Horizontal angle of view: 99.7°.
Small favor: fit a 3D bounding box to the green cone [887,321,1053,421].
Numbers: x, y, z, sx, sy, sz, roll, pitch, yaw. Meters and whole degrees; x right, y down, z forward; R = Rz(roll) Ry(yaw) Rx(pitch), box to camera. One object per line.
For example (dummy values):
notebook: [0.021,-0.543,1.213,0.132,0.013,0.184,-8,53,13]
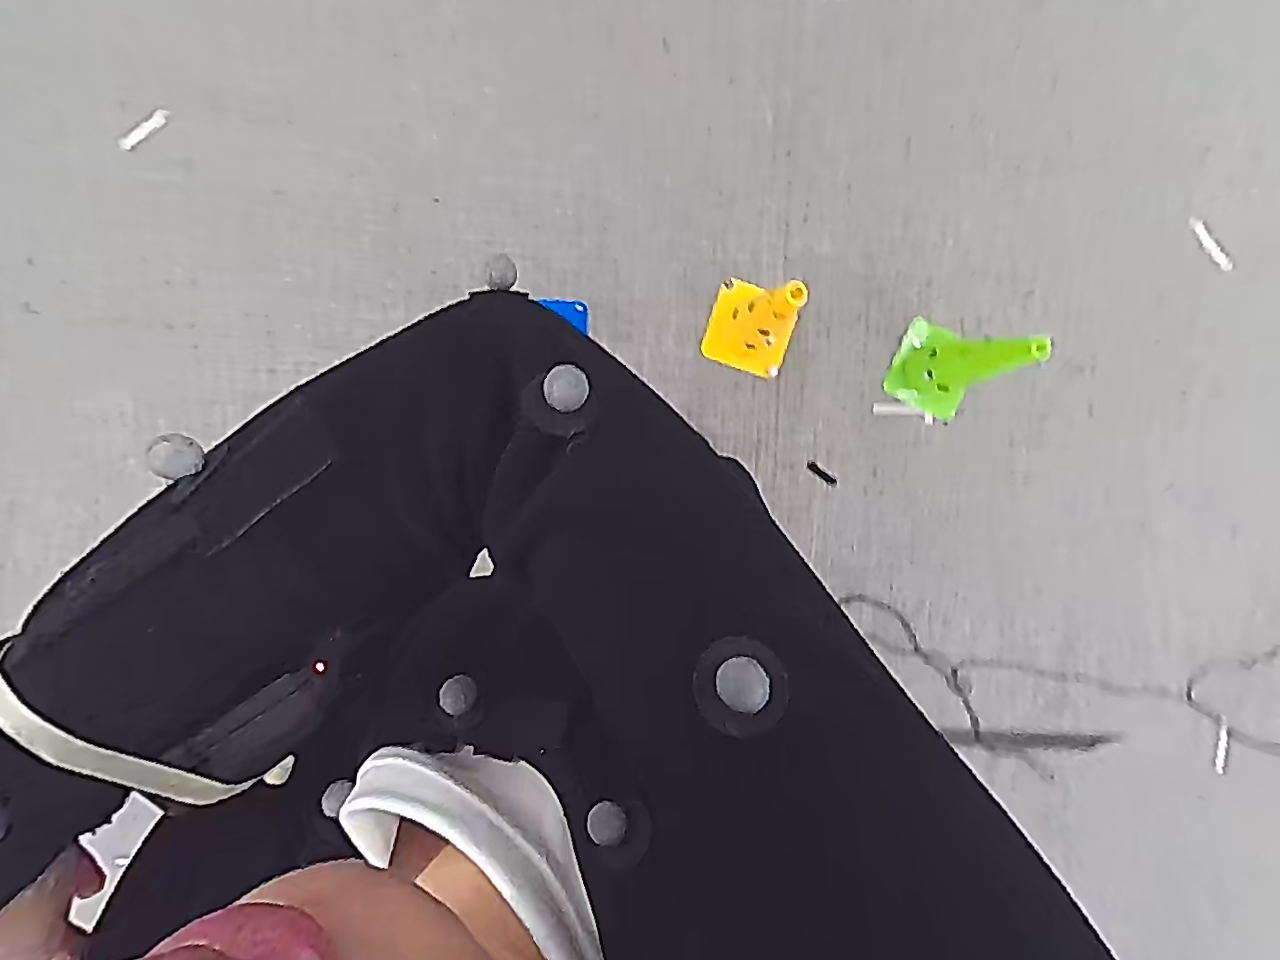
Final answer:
green cone: [0.744,-0.256,1.183,0.200,0.368,0.202,24,94,-3]
